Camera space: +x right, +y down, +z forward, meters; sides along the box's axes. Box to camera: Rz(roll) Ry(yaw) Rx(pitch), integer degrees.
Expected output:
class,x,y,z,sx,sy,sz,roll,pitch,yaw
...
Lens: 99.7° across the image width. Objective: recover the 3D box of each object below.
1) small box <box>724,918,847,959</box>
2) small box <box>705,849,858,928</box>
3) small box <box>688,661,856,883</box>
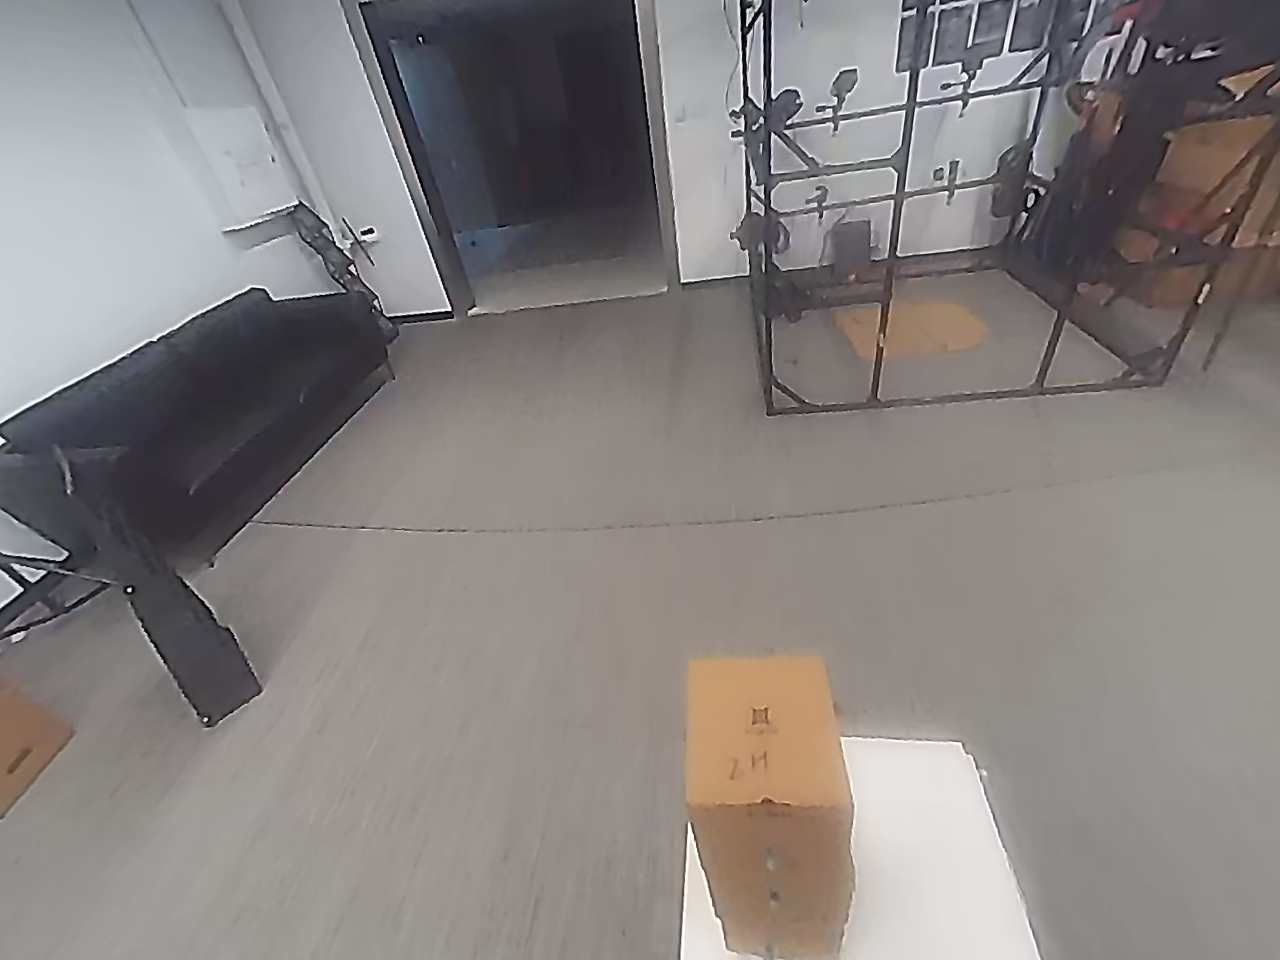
class,x,y,z,sx,sy,sz,roll,pitch,yaw
small box,0.213,0.607,0.825,0.168,0.176,0.179,-2,36,13
small box,0.182,0.476,0.731,0.179,0.176,0.168,-6,34,10
small box,0.149,0.341,0.643,0.168,0.176,0.179,-6,35,10
